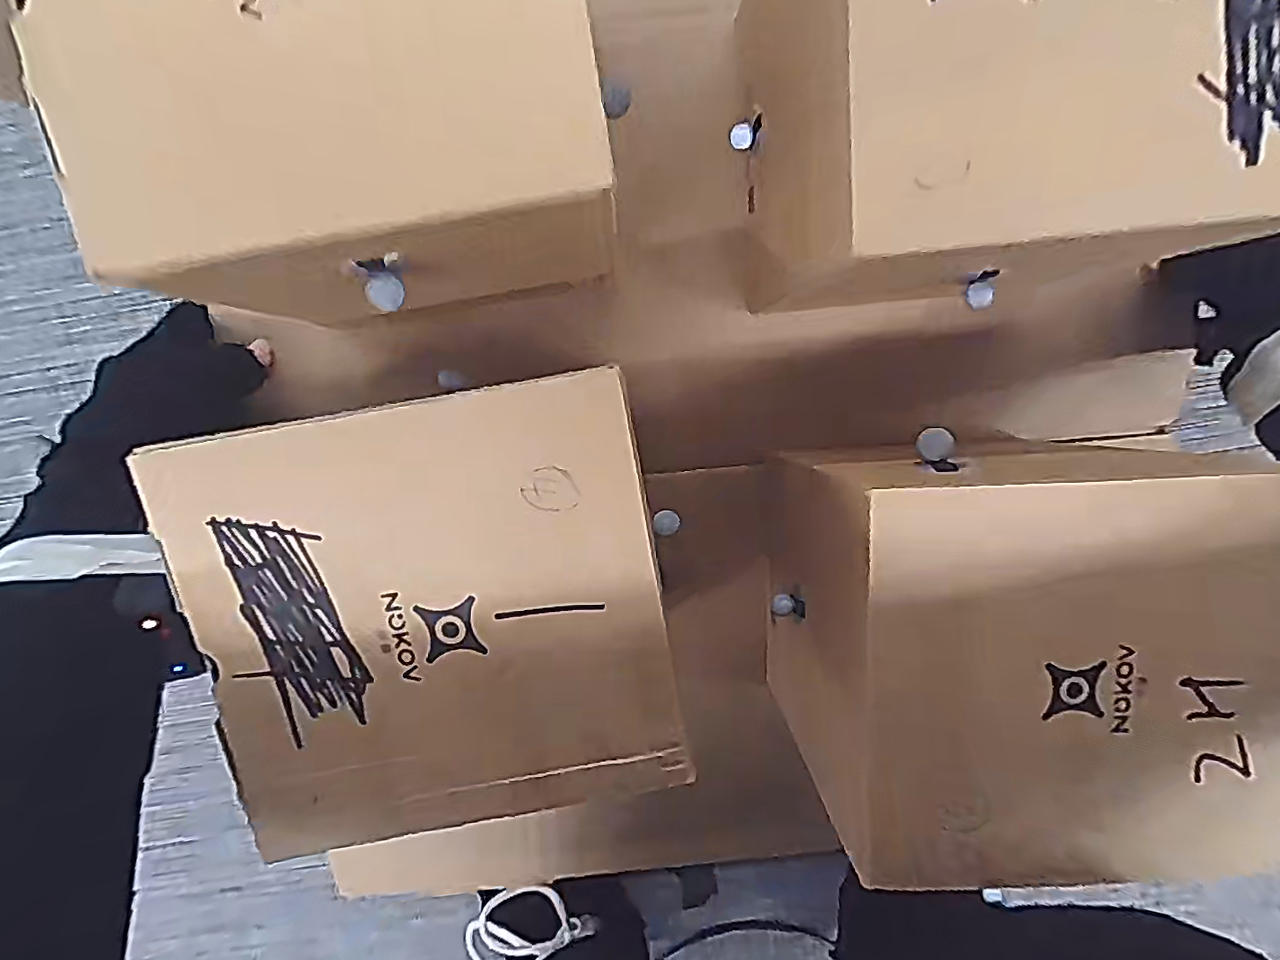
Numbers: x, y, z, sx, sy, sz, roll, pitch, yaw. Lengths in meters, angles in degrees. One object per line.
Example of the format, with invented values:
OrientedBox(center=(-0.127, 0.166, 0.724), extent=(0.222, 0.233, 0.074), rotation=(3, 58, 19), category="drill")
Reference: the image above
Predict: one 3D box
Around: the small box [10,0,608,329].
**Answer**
OrientedBox(center=(-0.112, -0.172, 0.248), extent=(0.179, 0.176, 0.168), rotation=(-10, 99, 1), category="small box")
